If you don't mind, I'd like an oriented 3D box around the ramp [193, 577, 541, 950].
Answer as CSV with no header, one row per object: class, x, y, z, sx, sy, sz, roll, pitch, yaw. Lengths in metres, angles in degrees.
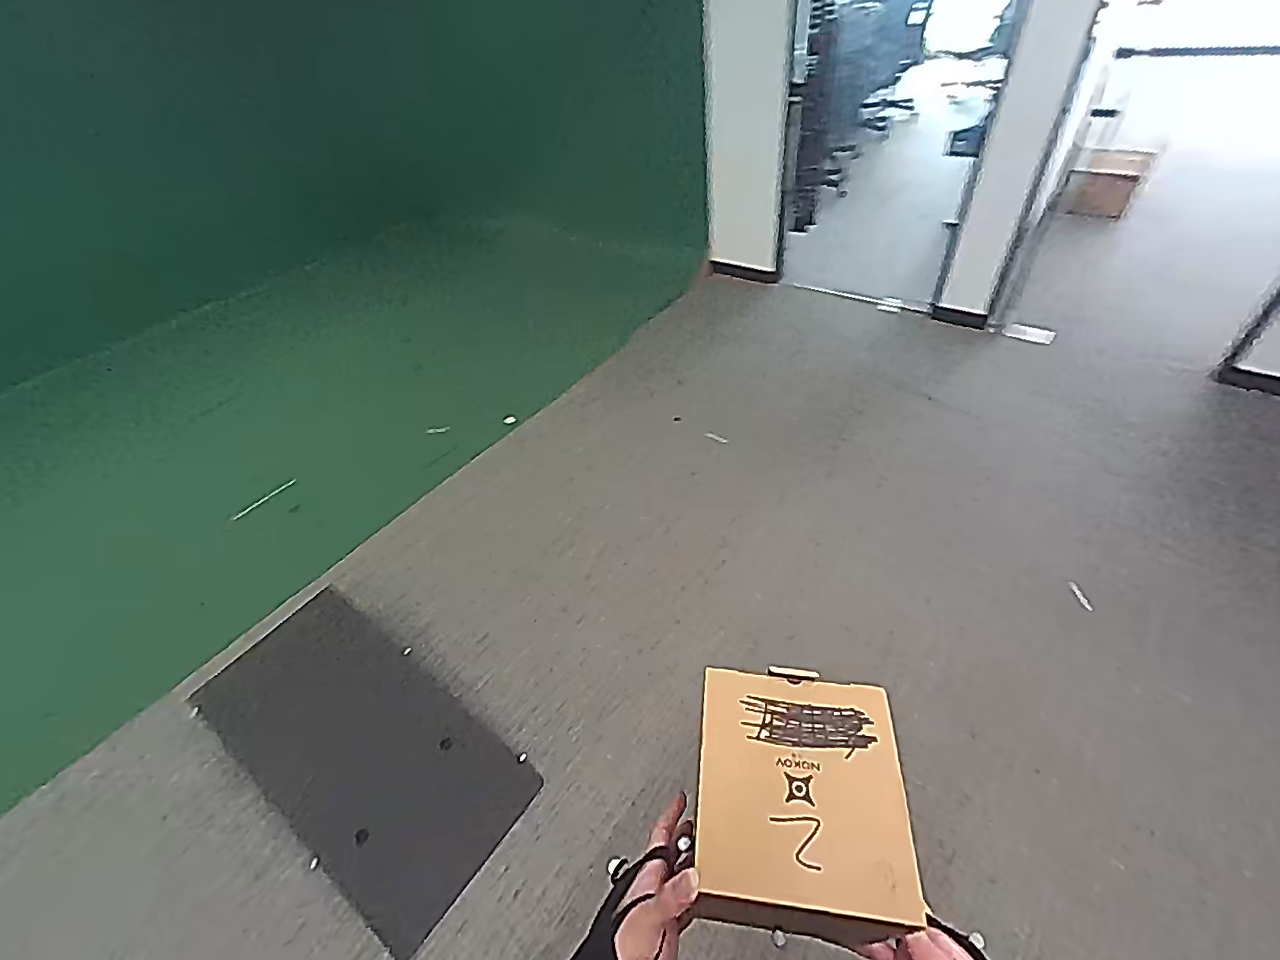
ramp,-0.809,0.730,1.582,0.991,0.206,0.509,24,53,28
